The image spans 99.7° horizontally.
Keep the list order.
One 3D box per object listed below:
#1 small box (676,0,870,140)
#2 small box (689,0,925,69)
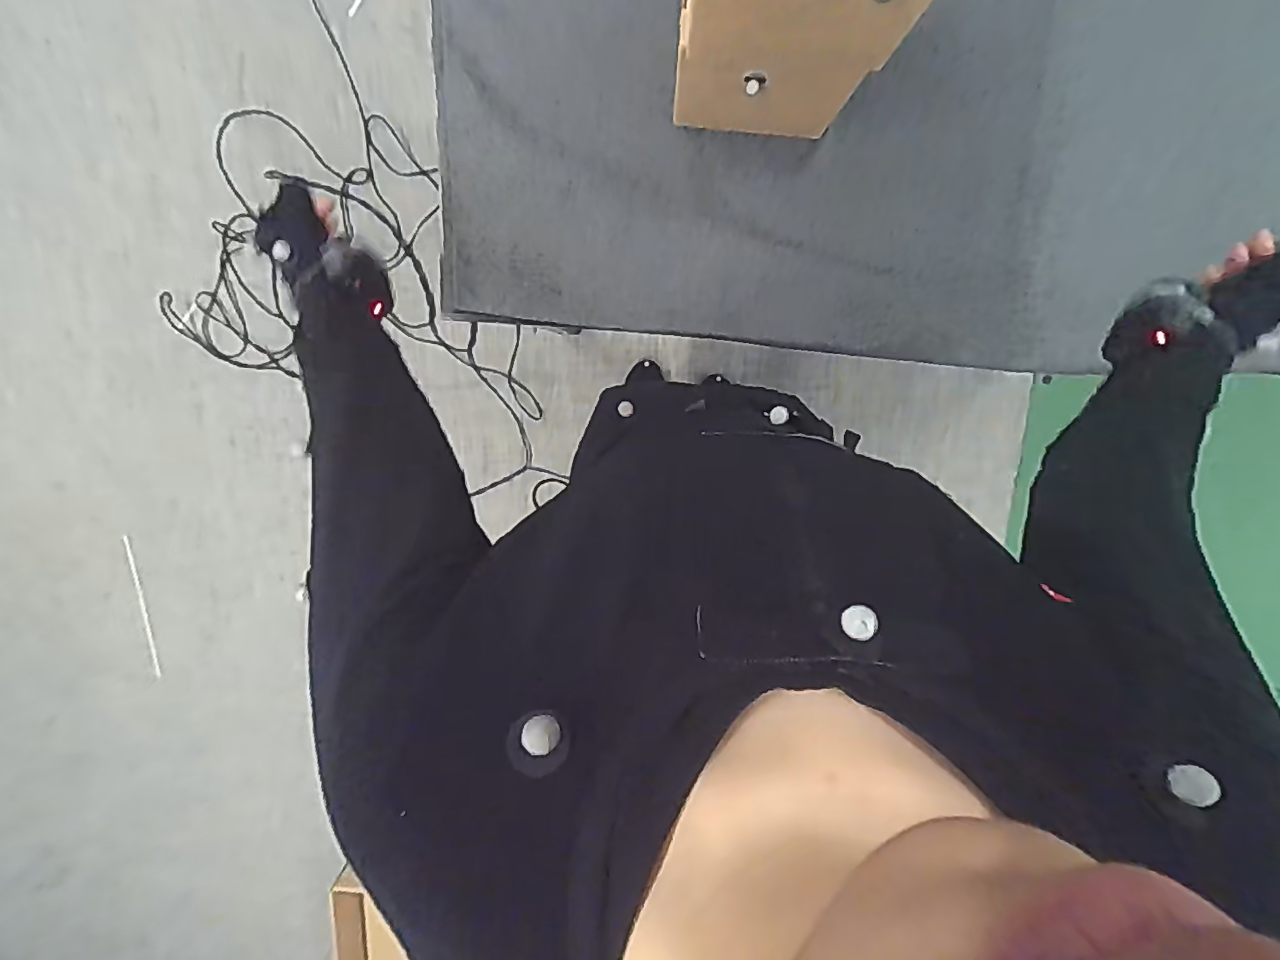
[{"bbox_3d":[0.133,-0.478,0.558,0.179,0.176,0.168,6,102,-1],"label":"small box"},{"bbox_3d":[0.135,-0.439,0.397,0.179,0.176,0.168,4,101,0],"label":"small box"}]
